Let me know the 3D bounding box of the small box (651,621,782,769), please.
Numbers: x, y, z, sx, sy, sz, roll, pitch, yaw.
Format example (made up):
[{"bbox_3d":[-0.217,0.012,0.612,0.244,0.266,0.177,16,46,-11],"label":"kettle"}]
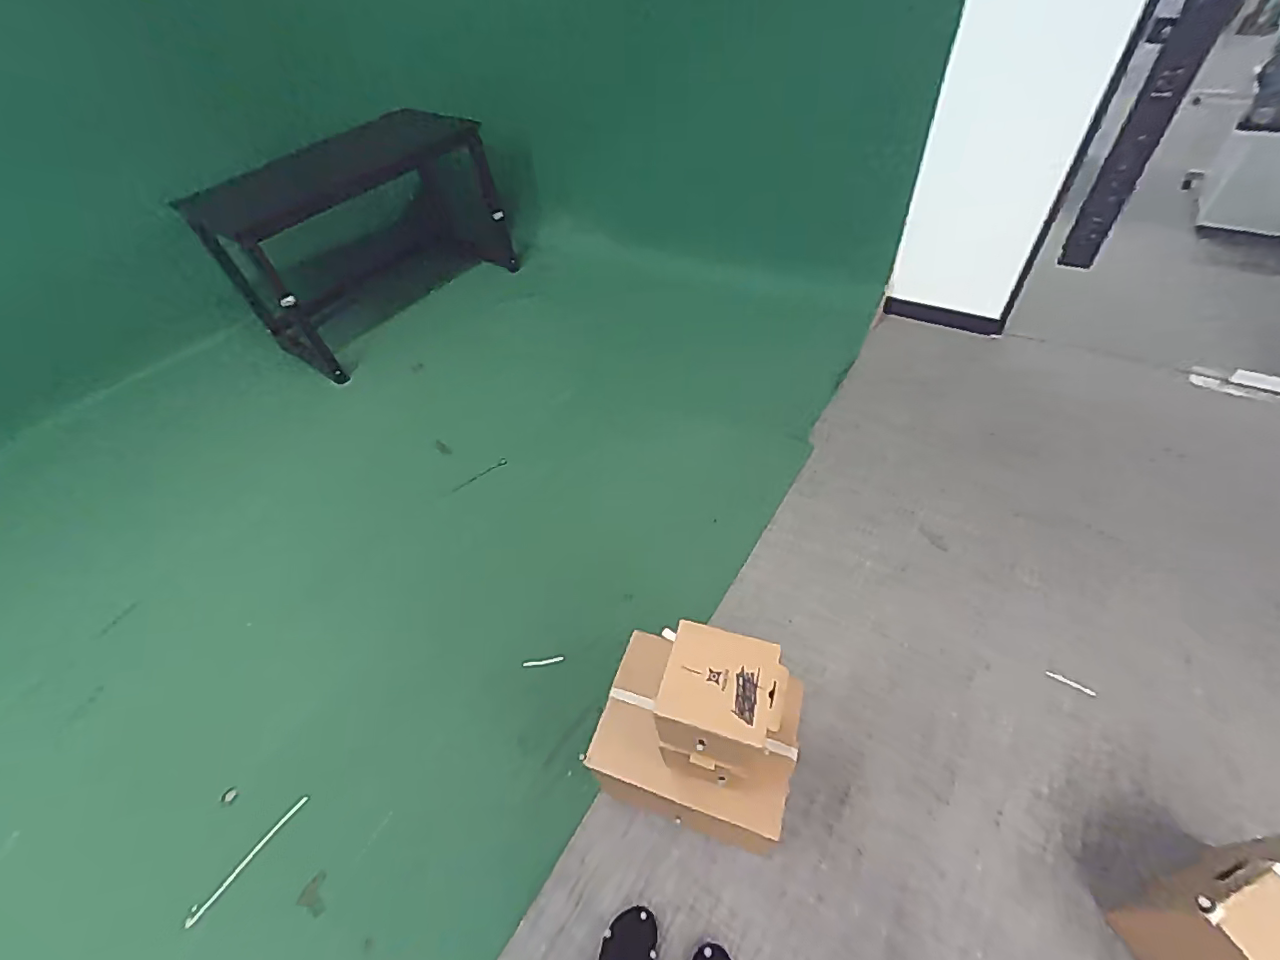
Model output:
[{"bbox_3d":[0.132,0.367,0.914,0.179,0.176,0.168,11,52,17],"label":"small box"}]

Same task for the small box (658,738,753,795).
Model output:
[{"bbox_3d":[0.145,0.475,1.038,0.168,0.176,0.179,13,53,18],"label":"small box"}]

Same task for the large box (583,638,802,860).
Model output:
[{"bbox_3d":[0.136,0.615,1.243,0.408,0.320,0.320,11,51,18],"label":"large box"}]
